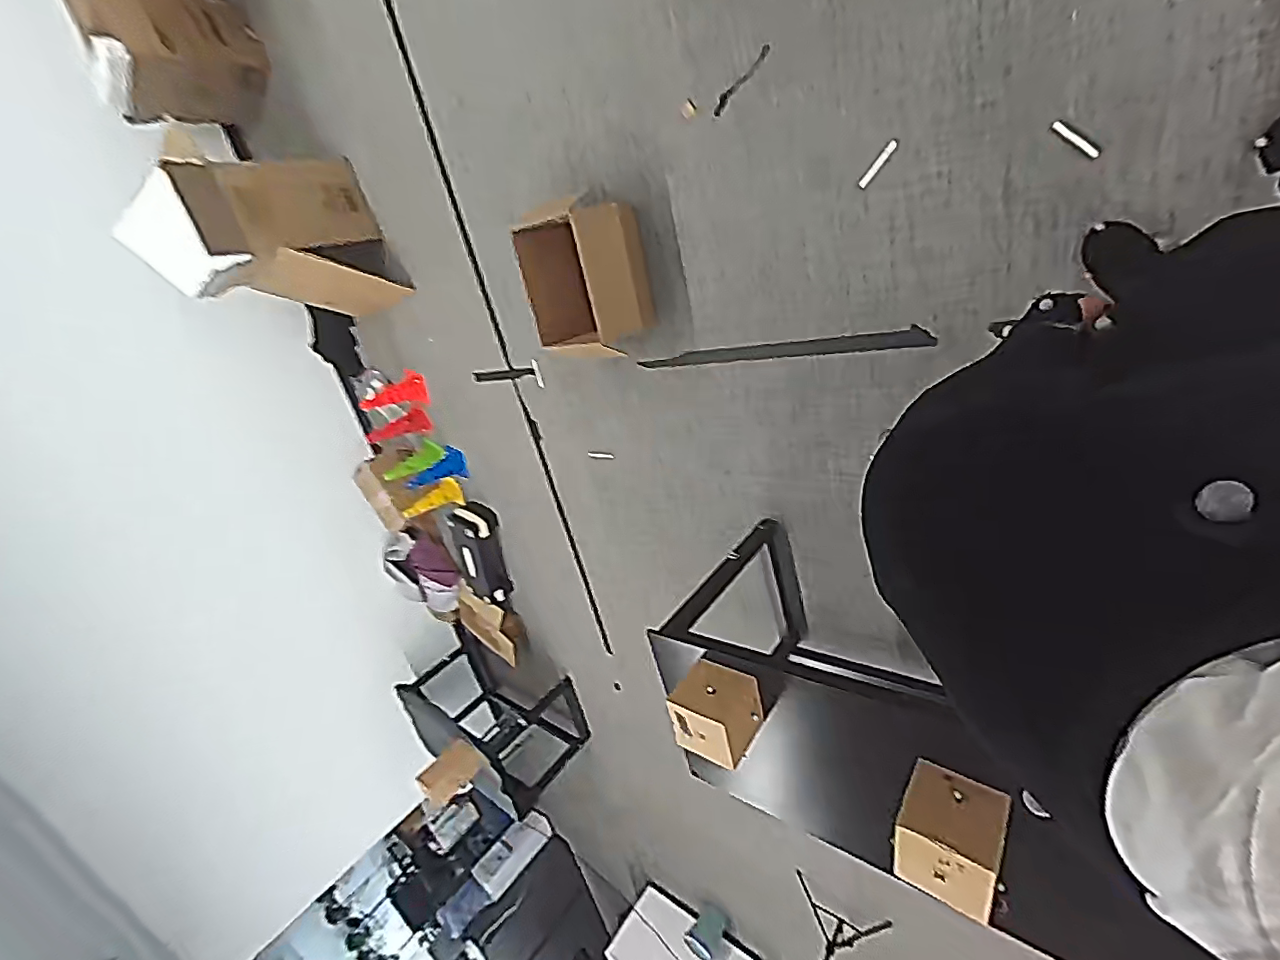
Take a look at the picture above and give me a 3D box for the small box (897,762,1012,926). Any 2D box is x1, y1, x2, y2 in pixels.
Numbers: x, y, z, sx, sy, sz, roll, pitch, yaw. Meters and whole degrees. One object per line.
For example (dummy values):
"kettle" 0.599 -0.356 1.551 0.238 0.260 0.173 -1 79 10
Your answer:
"small box" 0.625 0.713 1.076 0.168 0.176 0.179 10 122 38

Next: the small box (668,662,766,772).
"small box" 0.202 0.601 1.398 0.179 0.176 0.168 6 120 40
